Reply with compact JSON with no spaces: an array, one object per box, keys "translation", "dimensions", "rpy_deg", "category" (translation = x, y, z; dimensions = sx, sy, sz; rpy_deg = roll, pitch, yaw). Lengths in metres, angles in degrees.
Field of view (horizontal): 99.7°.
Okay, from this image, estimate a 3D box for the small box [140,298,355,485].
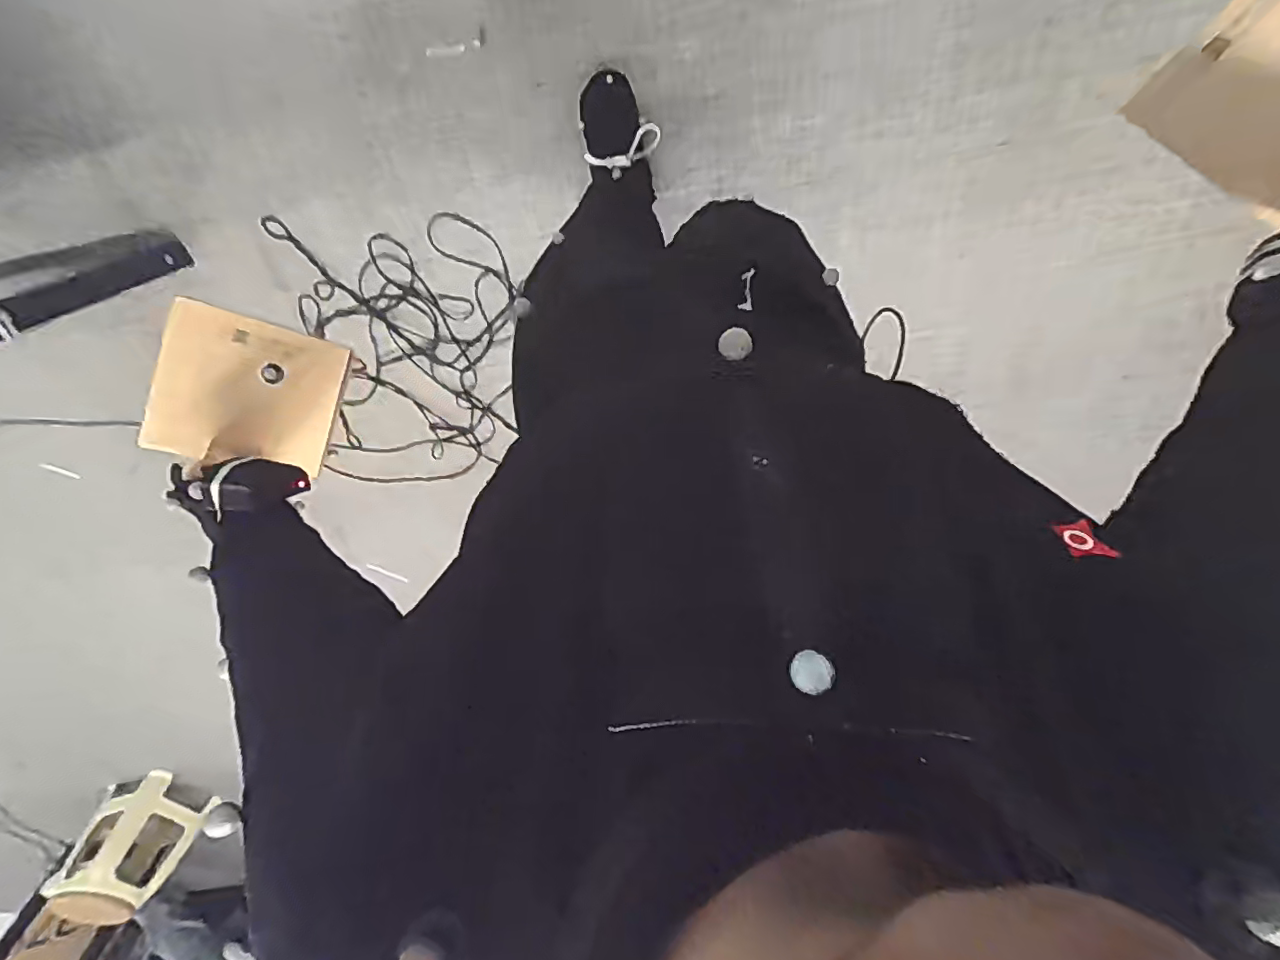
[{"translation":[-0.463,-0.109,0.668],"dimensions":[0.168,0.179,0.176],"rpy_deg":[16,94,-28],"category":"small box"}]
